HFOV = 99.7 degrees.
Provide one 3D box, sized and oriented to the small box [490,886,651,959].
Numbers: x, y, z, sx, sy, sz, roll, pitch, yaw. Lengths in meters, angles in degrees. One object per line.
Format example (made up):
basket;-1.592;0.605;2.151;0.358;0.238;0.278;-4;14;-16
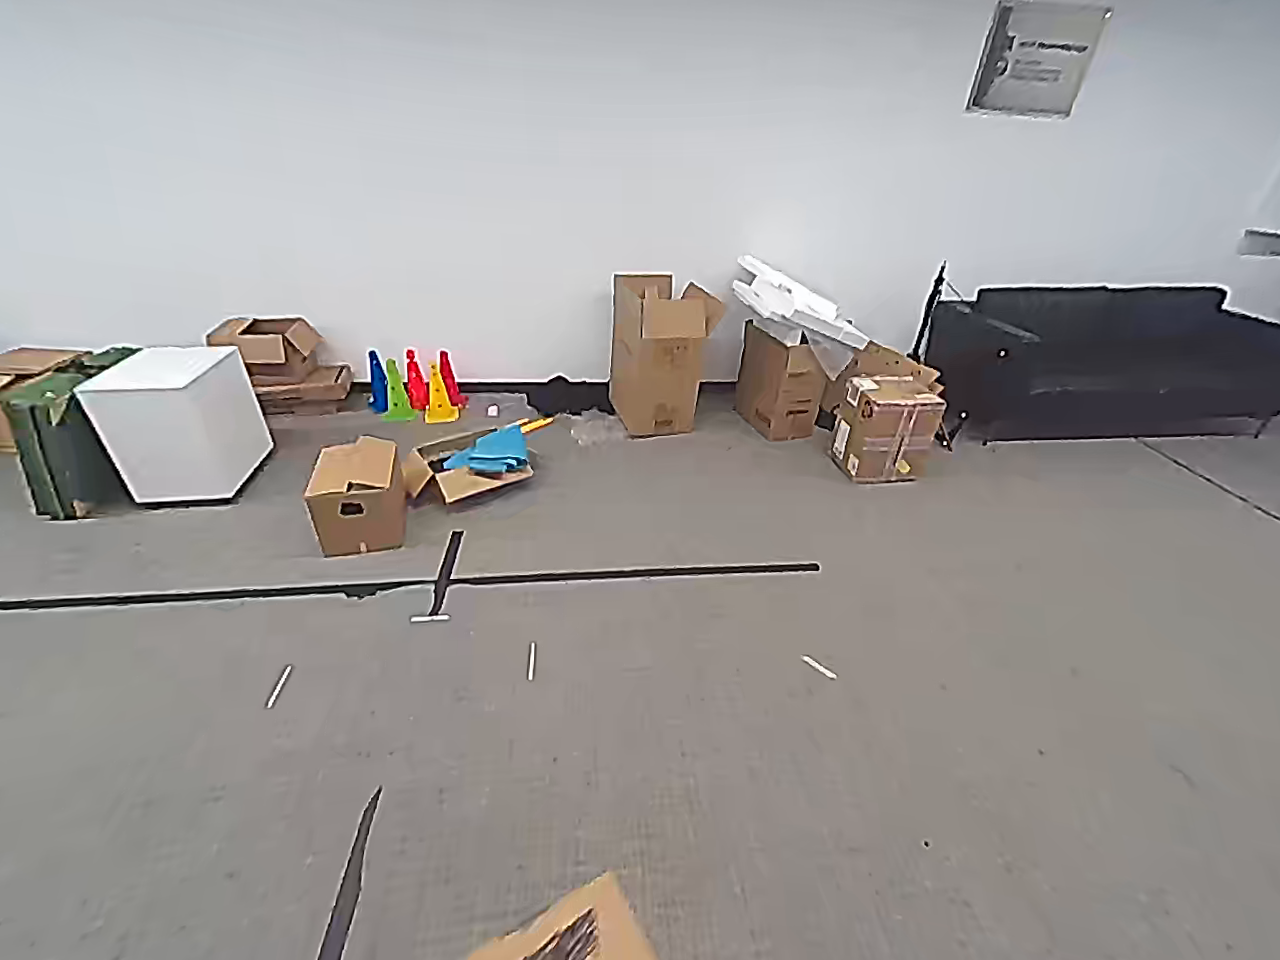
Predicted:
small box;-0.046;0.480;0.407;0.168;0.176;0.179;-16;18;-27
